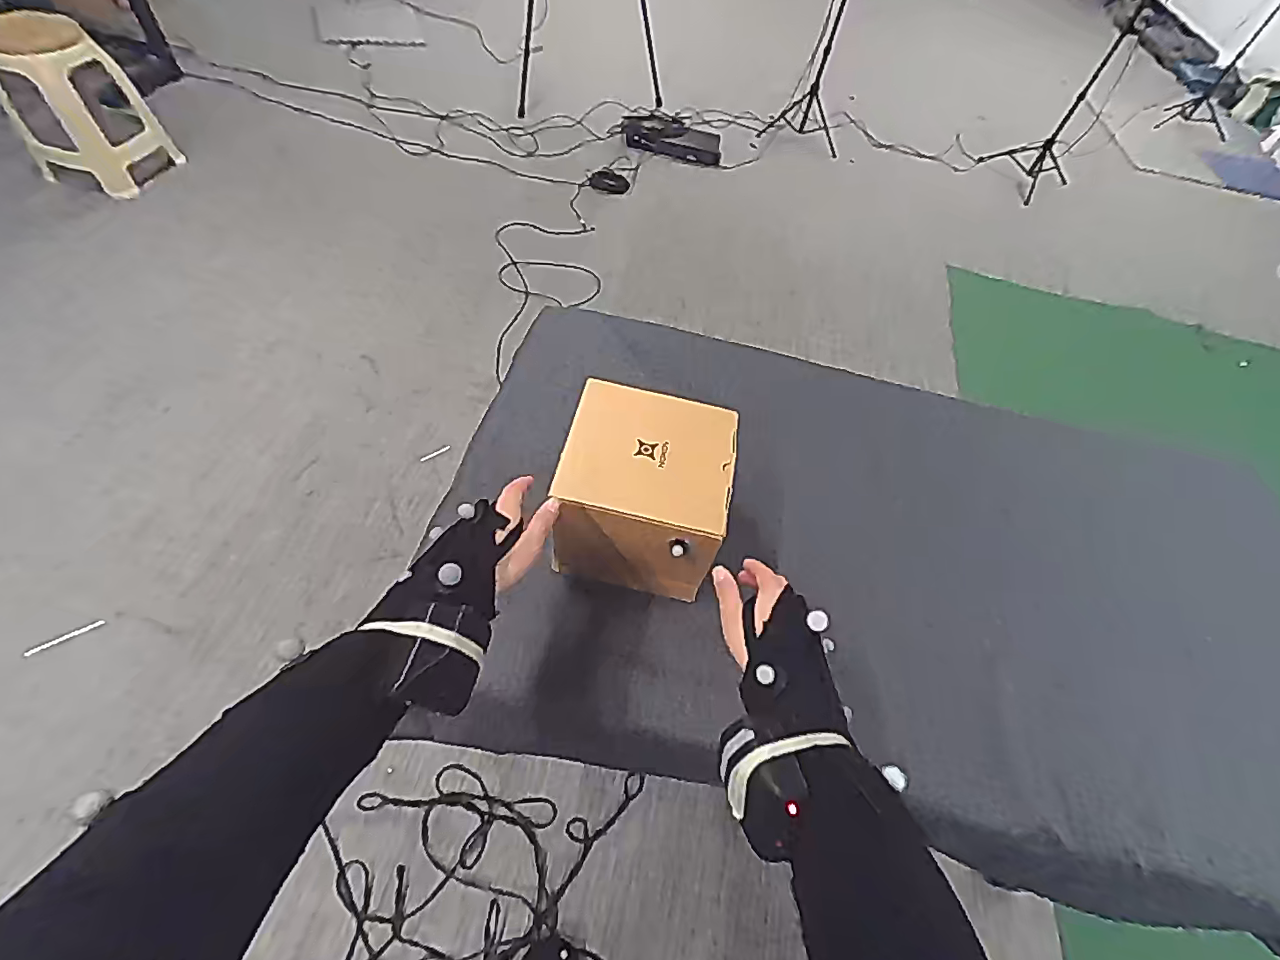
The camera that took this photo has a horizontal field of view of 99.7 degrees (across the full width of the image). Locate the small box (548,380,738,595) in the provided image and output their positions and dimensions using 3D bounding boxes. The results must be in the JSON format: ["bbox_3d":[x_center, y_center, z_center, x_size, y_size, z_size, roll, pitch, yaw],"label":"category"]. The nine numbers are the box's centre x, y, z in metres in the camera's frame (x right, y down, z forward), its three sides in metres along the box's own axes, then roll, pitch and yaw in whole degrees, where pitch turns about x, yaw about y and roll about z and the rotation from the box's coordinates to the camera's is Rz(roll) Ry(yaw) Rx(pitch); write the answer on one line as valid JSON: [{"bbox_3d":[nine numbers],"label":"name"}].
[{"bbox_3d":[0.001,0.015,0.624,0.179,0.176,0.168,13,55,0],"label":"small box"}]
